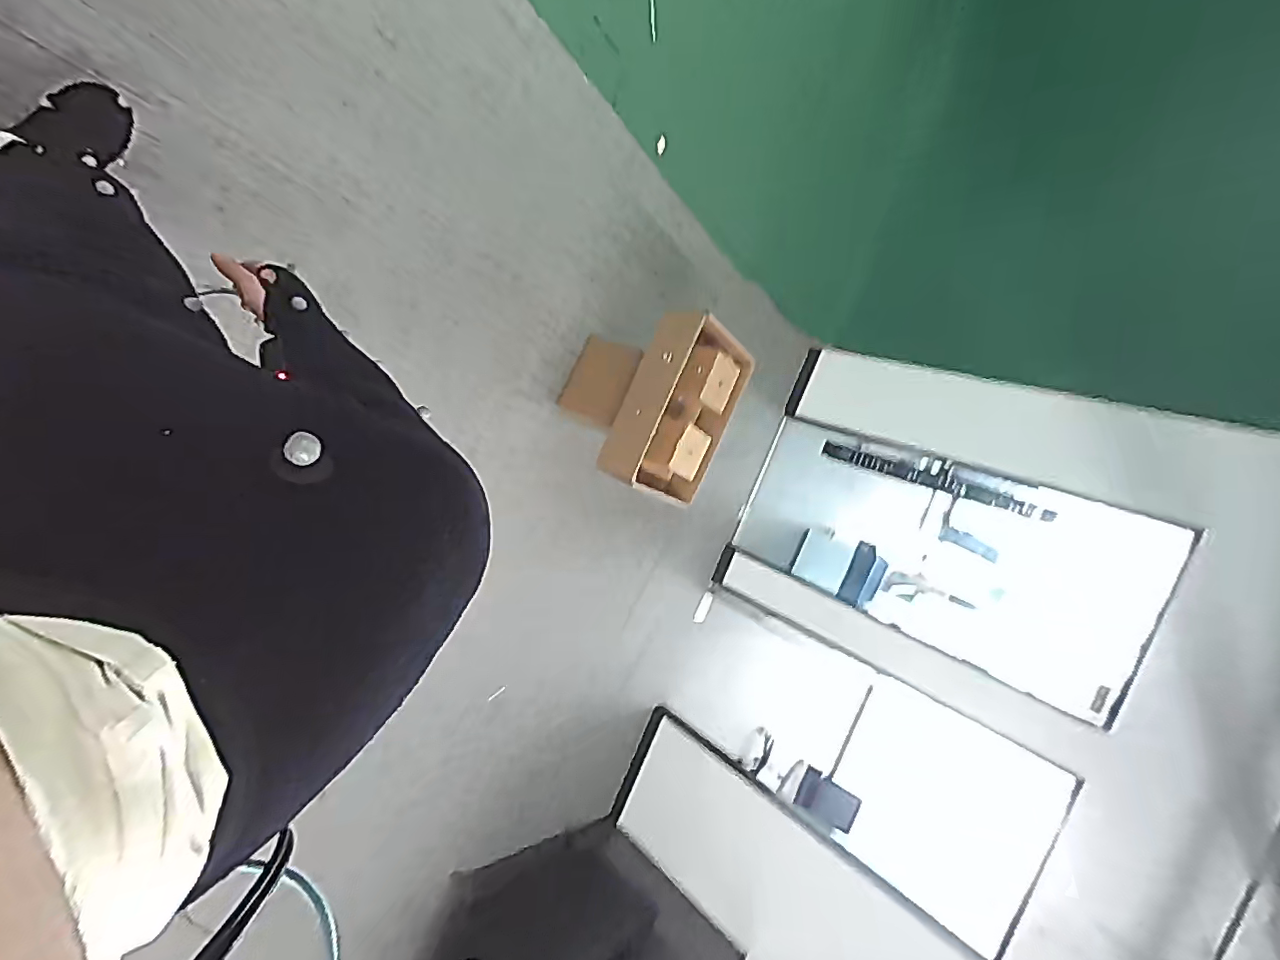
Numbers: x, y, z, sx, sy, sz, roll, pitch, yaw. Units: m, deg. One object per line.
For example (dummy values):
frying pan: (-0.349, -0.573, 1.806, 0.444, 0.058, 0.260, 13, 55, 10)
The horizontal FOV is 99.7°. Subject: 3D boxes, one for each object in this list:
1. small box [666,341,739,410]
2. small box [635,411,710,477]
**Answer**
small box: (0.218, -0.375, 1.919, 0.168, 0.176, 0.179, 21, 94, -52)
small box: (0.115, -0.132, 1.930, 0.179, 0.176, 0.168, 24, 91, -52)
